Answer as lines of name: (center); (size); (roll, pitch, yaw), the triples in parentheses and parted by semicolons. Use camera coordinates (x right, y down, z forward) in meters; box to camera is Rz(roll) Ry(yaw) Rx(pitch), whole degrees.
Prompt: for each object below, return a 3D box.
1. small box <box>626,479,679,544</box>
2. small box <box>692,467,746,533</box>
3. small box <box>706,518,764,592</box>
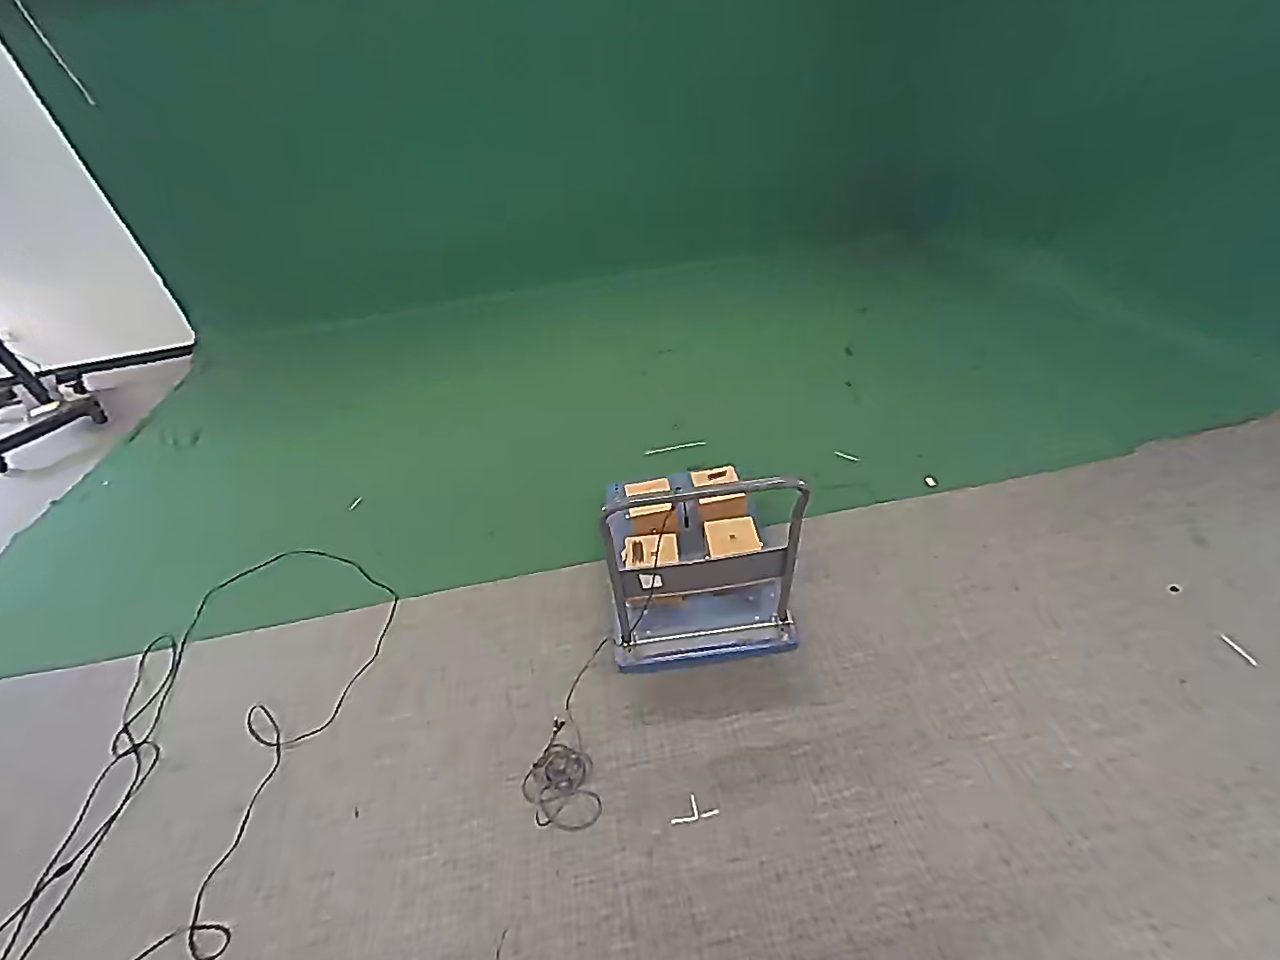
small box: (0.047, 0.124, 2.022); (0.168, 0.176, 0.179); (-10, 40, -3)
small box: (0.294, 0.078, 2.033); (0.168, 0.176, 0.179); (-11, 41, -2)
small box: (0.316, 0.253, 1.828); (0.168, 0.176, 0.179); (-7, 41, 1)
